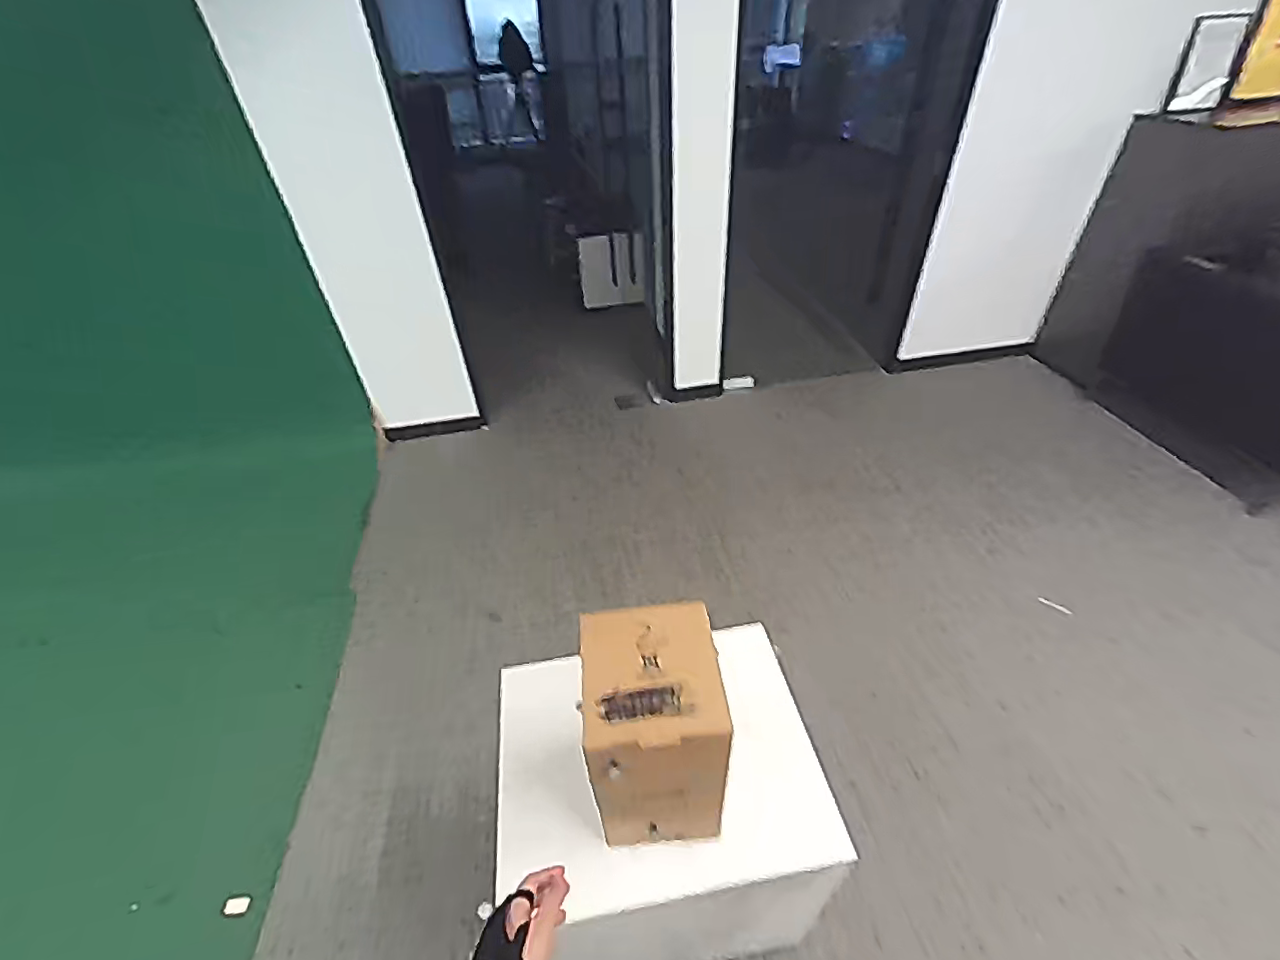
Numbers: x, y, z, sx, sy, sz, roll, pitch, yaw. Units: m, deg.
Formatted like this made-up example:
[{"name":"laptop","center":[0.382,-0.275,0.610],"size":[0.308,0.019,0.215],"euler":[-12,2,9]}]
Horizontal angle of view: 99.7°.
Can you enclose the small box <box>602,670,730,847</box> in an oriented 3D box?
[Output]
[{"name":"small box","center":[0.032,0.407,0.795],"size":[0.168,0.176,0.179],"euler":[-4,40,-1]}]
